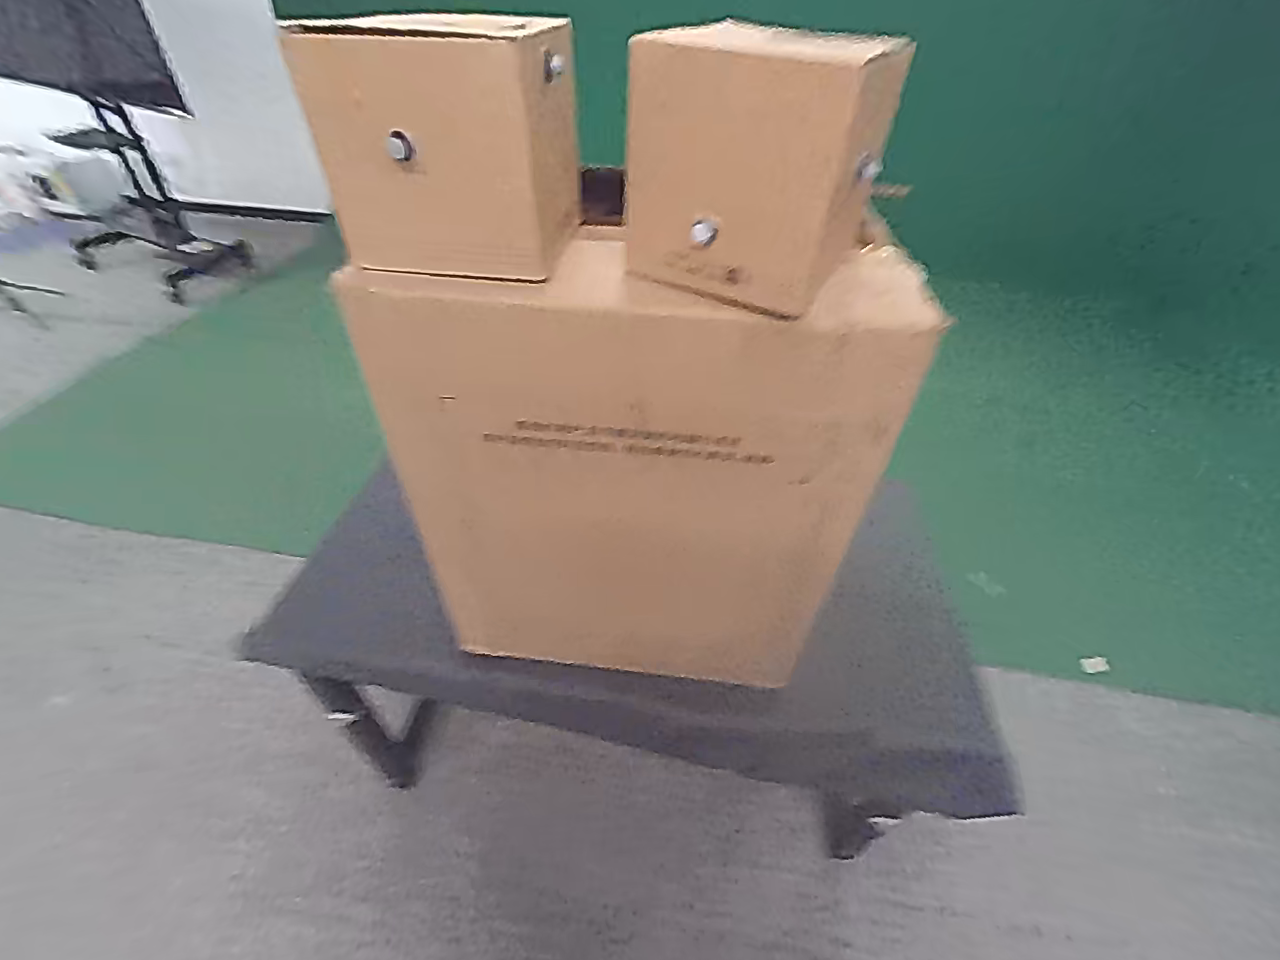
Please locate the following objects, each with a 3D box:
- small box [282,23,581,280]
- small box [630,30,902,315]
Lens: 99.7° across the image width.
[{"bbox_3d":[-0.159,-0.294,0.486,0.179,0.176,0.168,4,44,5],"label":"small box"},{"bbox_3d":[0.099,-0.269,0.468,0.168,0.176,0.179,23,48,20],"label":"small box"}]
